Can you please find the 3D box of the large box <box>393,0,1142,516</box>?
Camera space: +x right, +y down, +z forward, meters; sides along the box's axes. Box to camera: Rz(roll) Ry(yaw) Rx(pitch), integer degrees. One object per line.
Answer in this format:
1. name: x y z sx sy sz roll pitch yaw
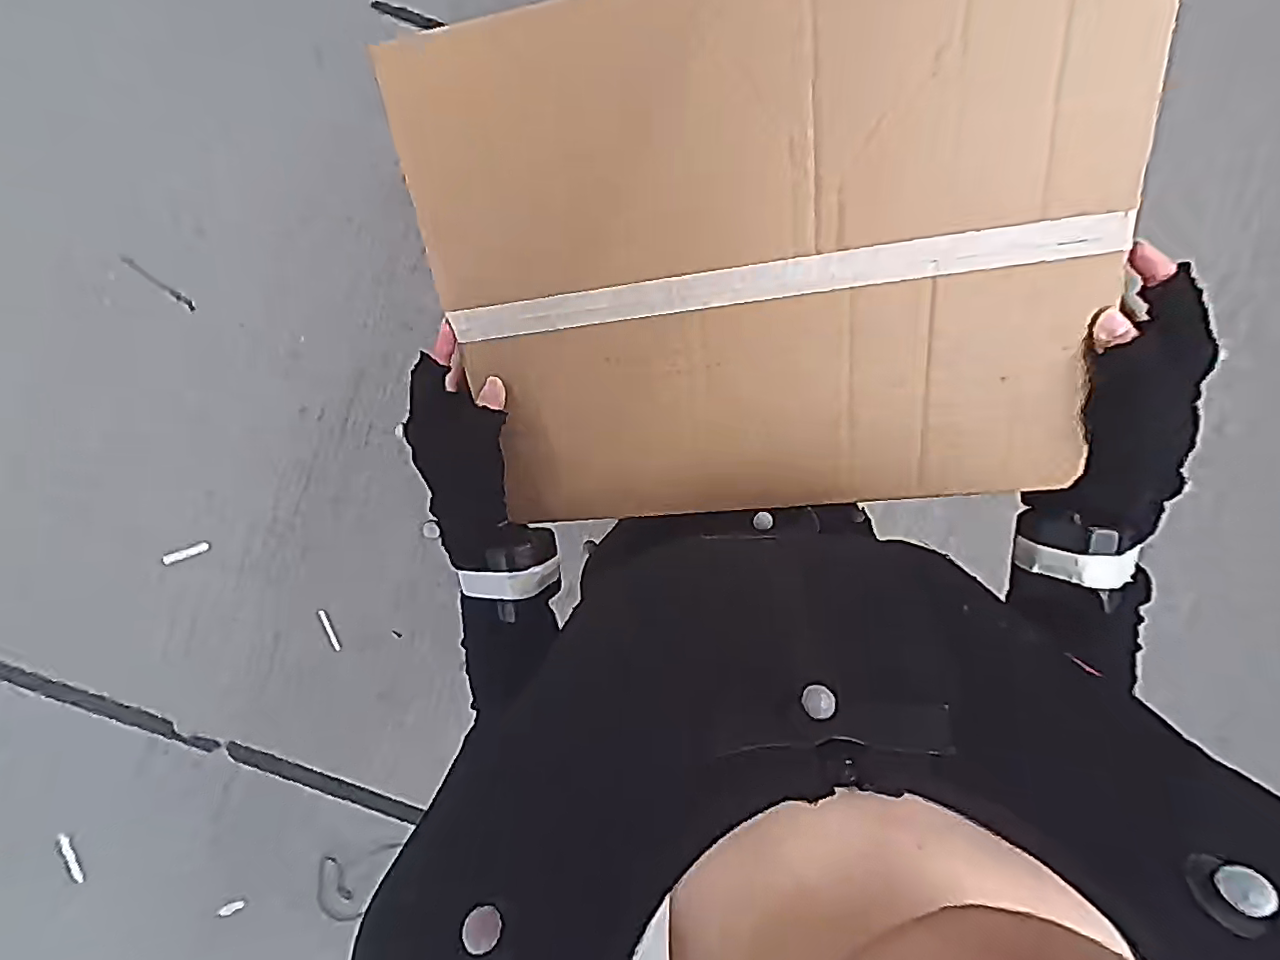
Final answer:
1. large box: 0.086 -0.188 0.476 0.408 0.320 0.320 -5 116 10
